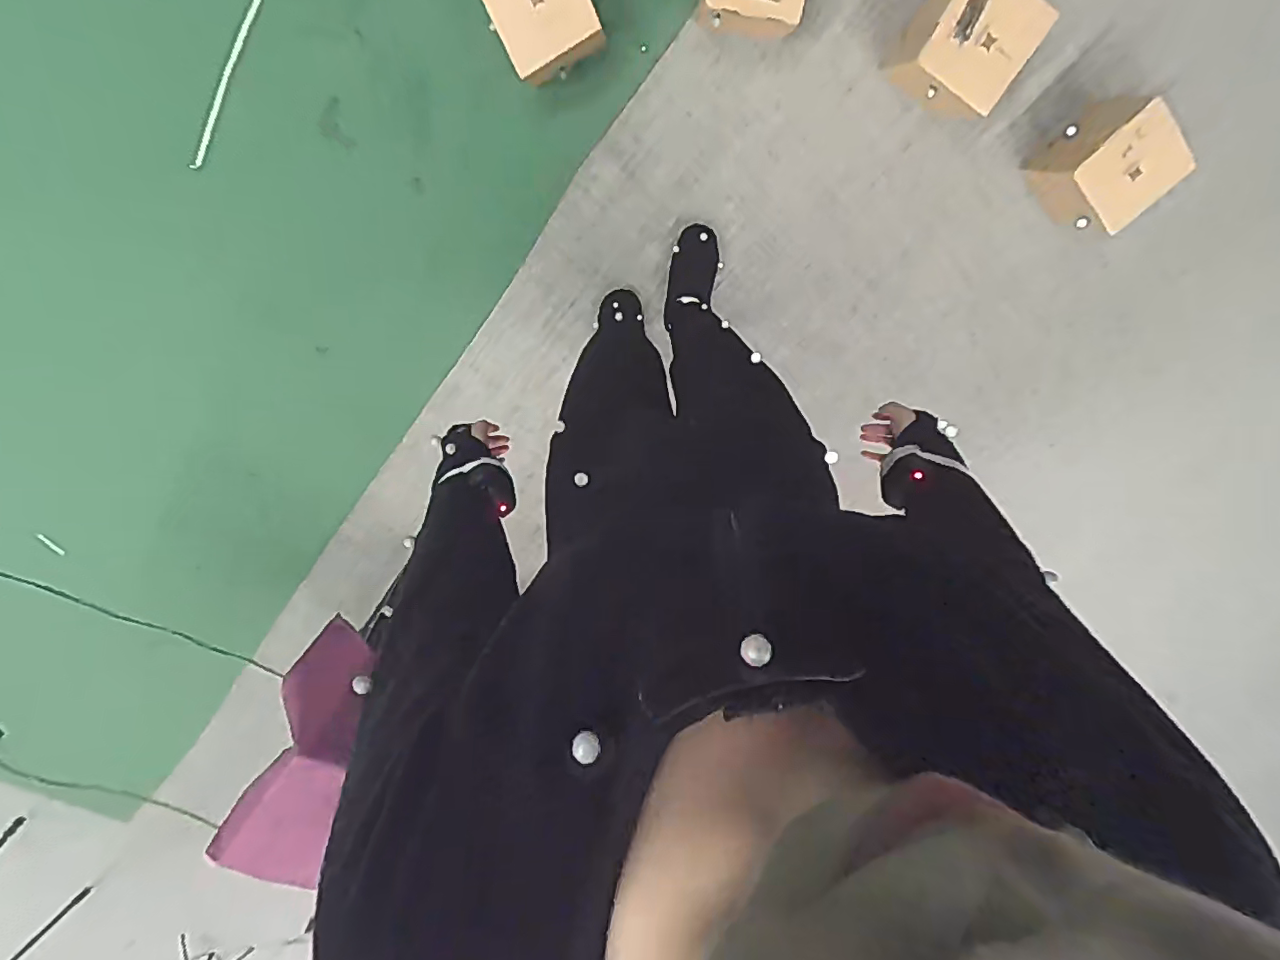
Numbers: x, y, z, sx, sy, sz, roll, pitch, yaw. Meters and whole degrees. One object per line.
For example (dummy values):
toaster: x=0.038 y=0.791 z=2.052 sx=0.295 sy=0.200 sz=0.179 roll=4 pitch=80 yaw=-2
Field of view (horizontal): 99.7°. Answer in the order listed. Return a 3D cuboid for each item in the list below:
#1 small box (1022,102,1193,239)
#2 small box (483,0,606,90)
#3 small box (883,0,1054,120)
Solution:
small box: x=0.939 y=-0.627 z=1.100 sx=0.179 sy=0.176 sz=0.168 roll=37 pitch=114 yaw=-20
small box: x=-0.174 y=-0.845 z=0.978 sx=0.168 sy=0.176 sz=0.179 roll=-22 pitch=119 yaw=13
small box: x=0.591 y=-0.794 z=1.001 sx=0.179 sy=0.176 sz=0.168 roll=25 pitch=119 yaw=-15
